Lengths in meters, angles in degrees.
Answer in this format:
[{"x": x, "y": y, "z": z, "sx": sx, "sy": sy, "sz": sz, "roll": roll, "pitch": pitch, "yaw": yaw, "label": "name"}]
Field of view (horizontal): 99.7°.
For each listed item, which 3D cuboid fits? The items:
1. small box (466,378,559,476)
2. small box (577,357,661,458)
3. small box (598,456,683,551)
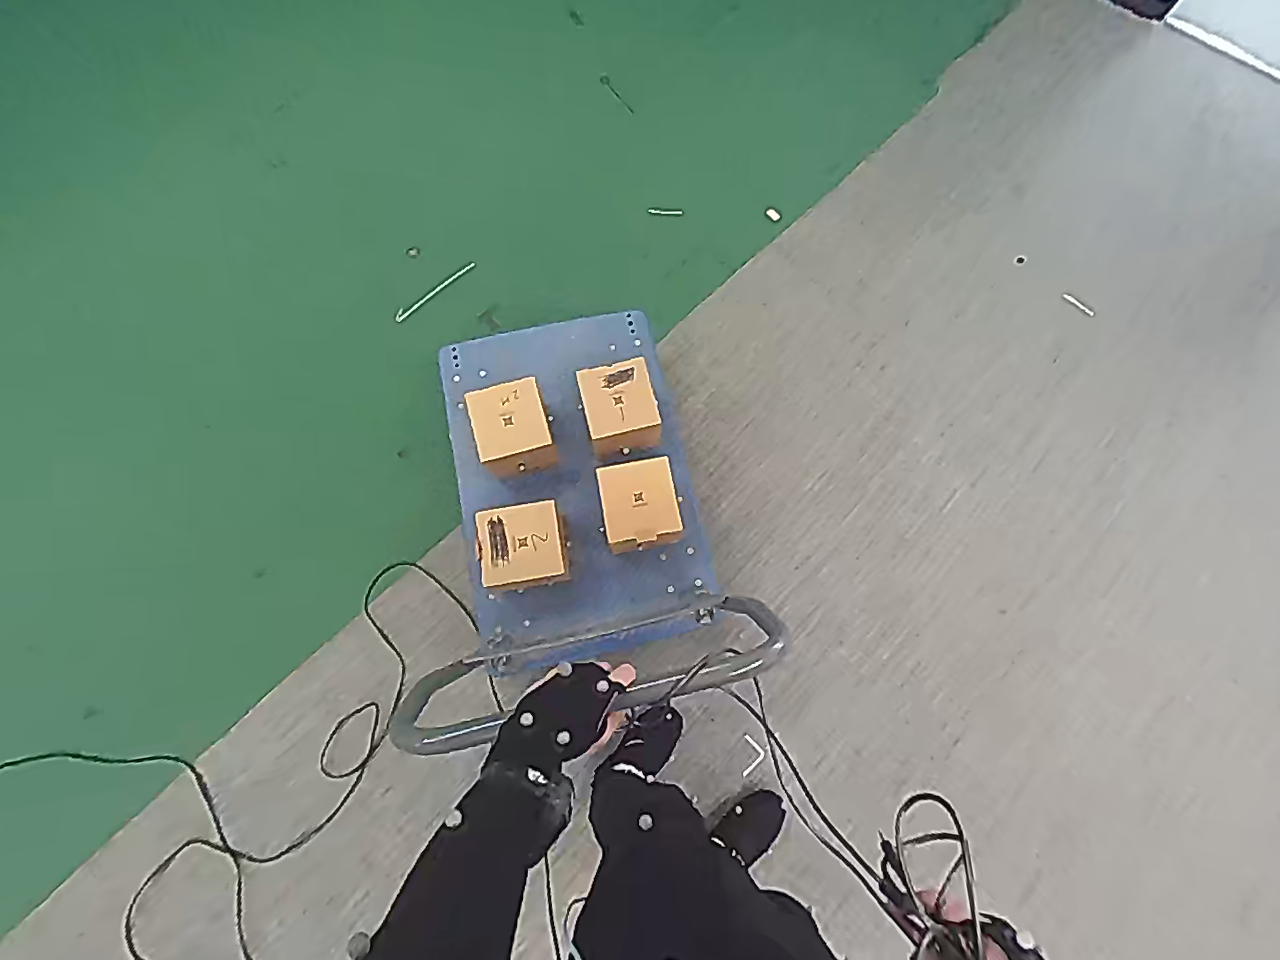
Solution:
[{"x": -0.301, "y": -0.118, "z": 1.305, "sx": 0.168, "sy": 0.176, "sz": 0.179, "roll": -16, "pitch": 77, "yaw": -5, "label": "small box"}, {"x": -0.051, "y": -0.172, "z": 1.322, "sx": 0.168, "sy": 0.176, "sz": 0.179, "roll": -14, "pitch": 77, "yaw": -4, "label": "small box"}, {"x": -0.002, "y": 0.060, "z": 1.266, "sx": 0.168, "sy": 0.176, "sz": 0.179, "roll": -11, "pitch": 77, "yaw": -3, "label": "small box"}]
